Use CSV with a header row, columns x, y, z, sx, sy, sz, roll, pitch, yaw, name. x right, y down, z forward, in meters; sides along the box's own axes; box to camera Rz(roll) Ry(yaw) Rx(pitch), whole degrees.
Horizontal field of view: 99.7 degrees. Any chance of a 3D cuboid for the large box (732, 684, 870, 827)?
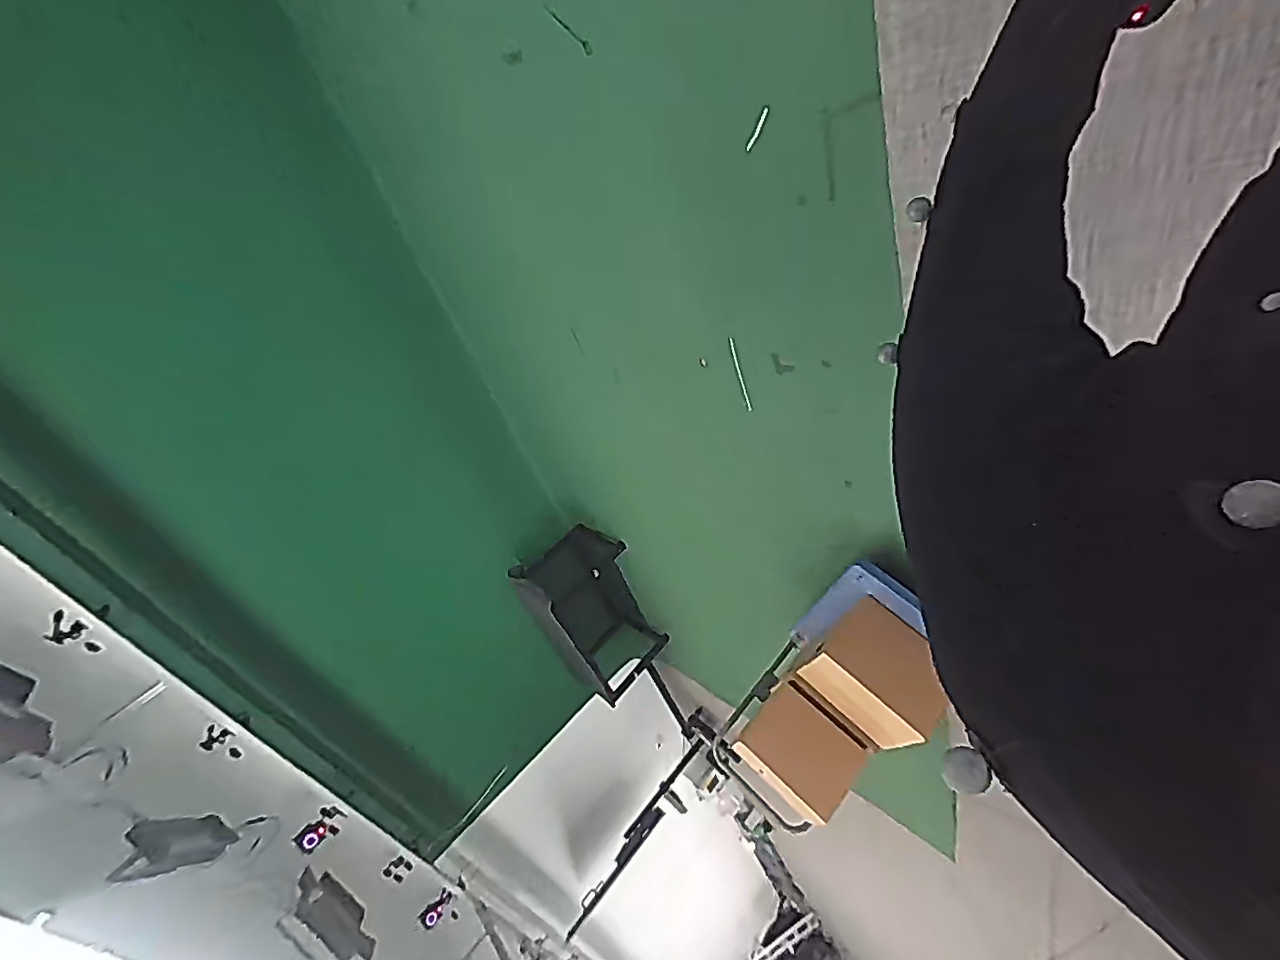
x,y,z,sx,sy,sz,roll,pitch,yaw,name
0.637,1.107,2.185,0.408,0.320,0.320,40,158,22,large box
